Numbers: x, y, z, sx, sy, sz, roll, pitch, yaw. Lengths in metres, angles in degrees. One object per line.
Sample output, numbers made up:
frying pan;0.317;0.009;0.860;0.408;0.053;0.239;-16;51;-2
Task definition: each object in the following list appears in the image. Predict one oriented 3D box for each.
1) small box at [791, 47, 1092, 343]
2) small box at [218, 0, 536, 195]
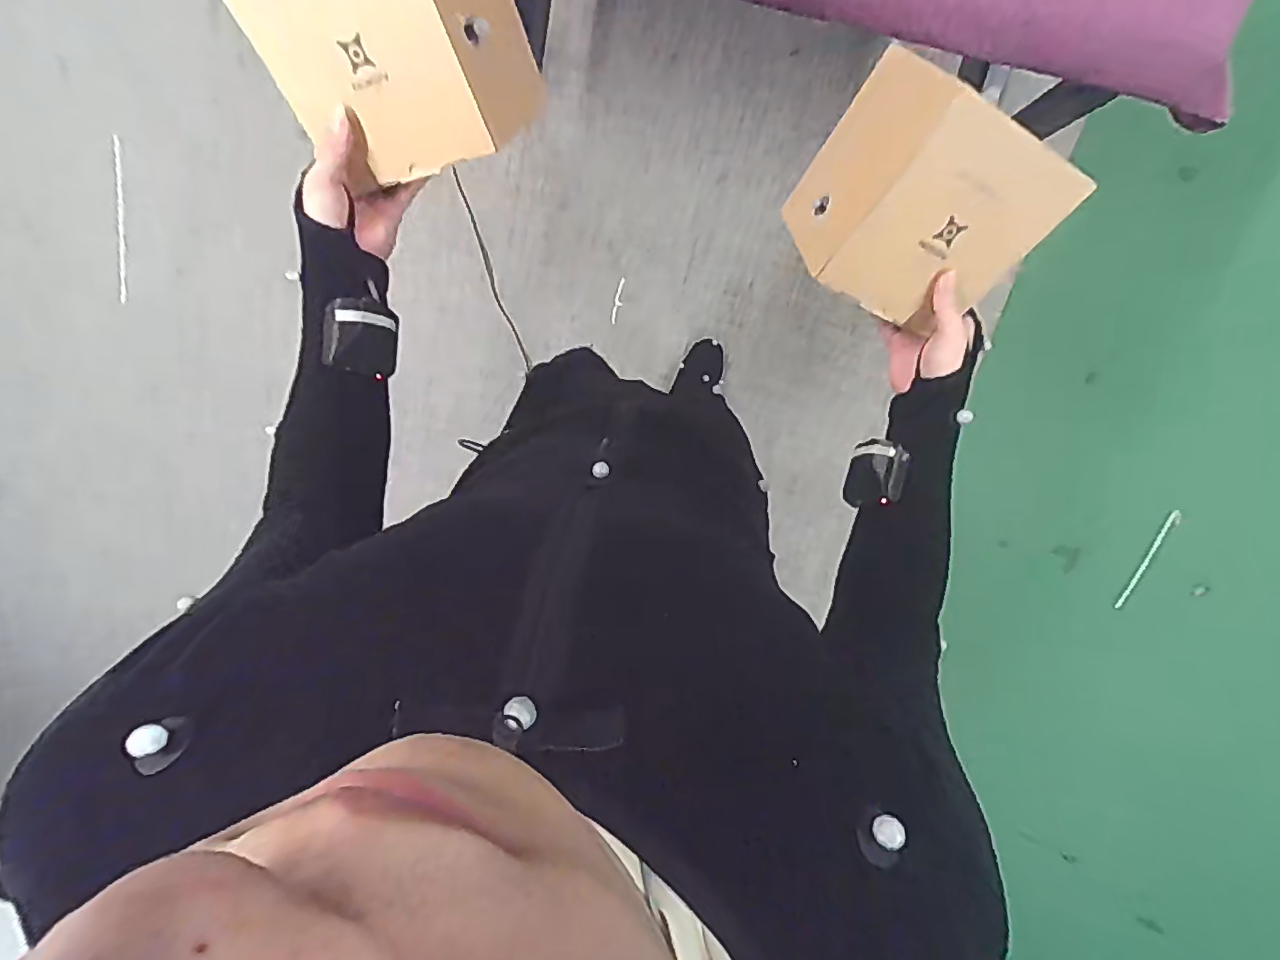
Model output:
small box;0.270;-0.277;0.535;0.168;0.176;0.179;18;134;-21
small box;-0.212;-0.387;0.472;0.168;0.176;0.179;-6;136;16
